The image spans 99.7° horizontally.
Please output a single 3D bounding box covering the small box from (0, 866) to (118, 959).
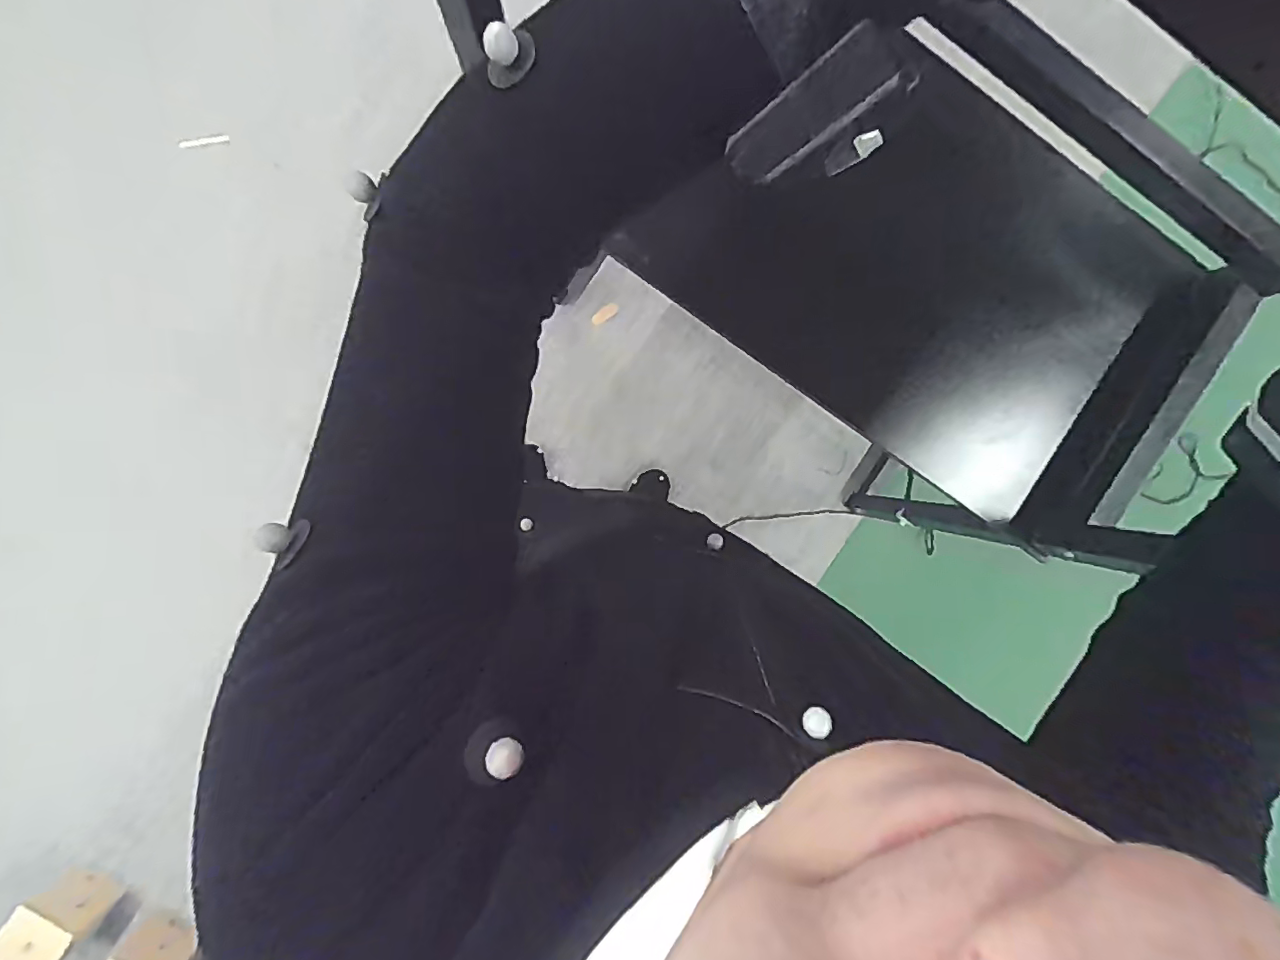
[{"bbox_3d":[-1.620,1.230,1.497,0.168,0.176,0.179,35,90,-4],"label":"small box"}]
